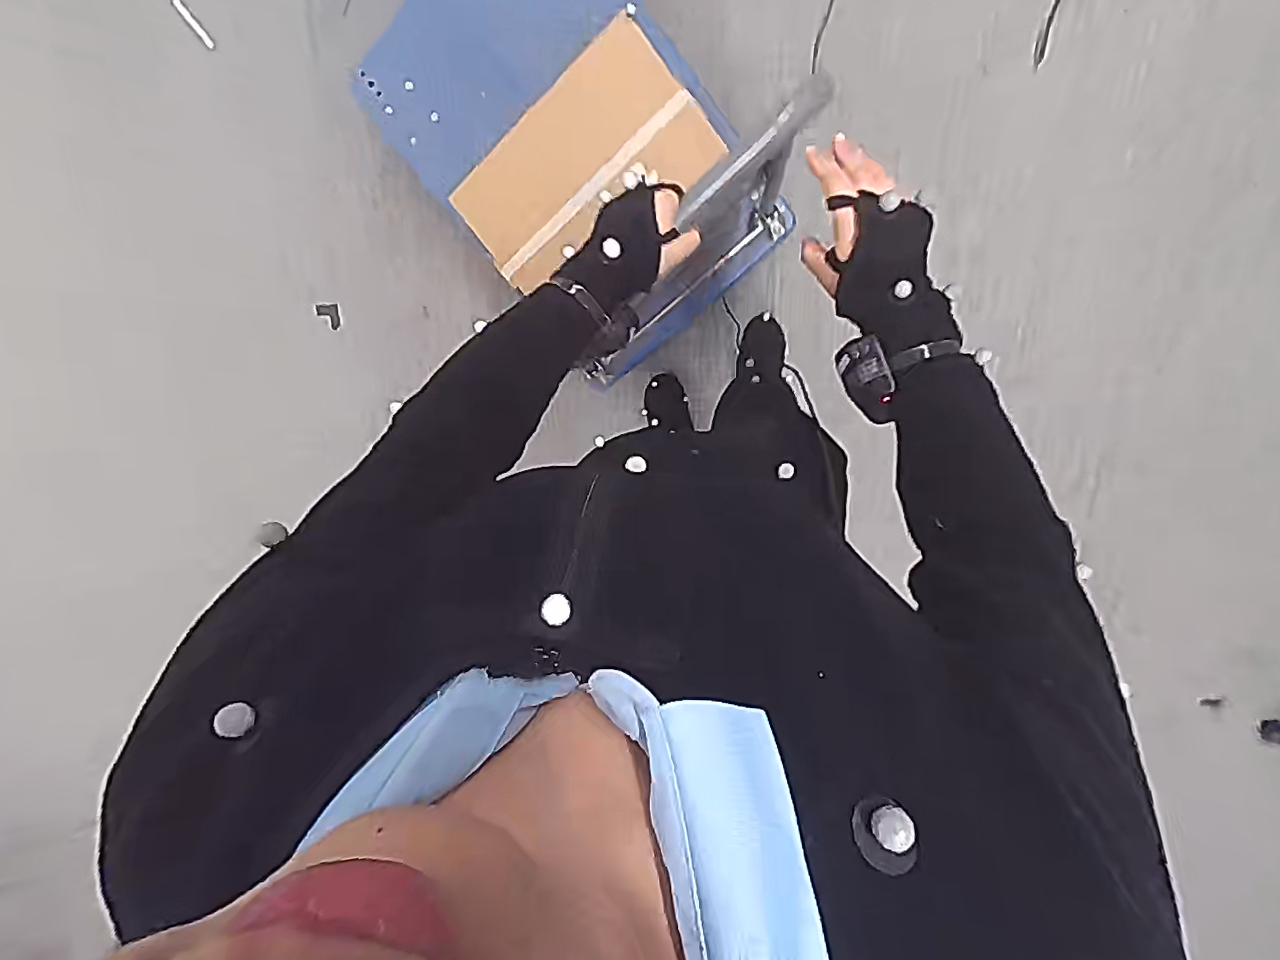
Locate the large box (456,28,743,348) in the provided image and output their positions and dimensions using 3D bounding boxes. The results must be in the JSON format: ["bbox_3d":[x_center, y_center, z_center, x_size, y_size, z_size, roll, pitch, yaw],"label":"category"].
[{"bbox_3d":[-0.059,-0.502,1.042,0.408,0.320,0.320,-37,98,14],"label":"large box"}]
